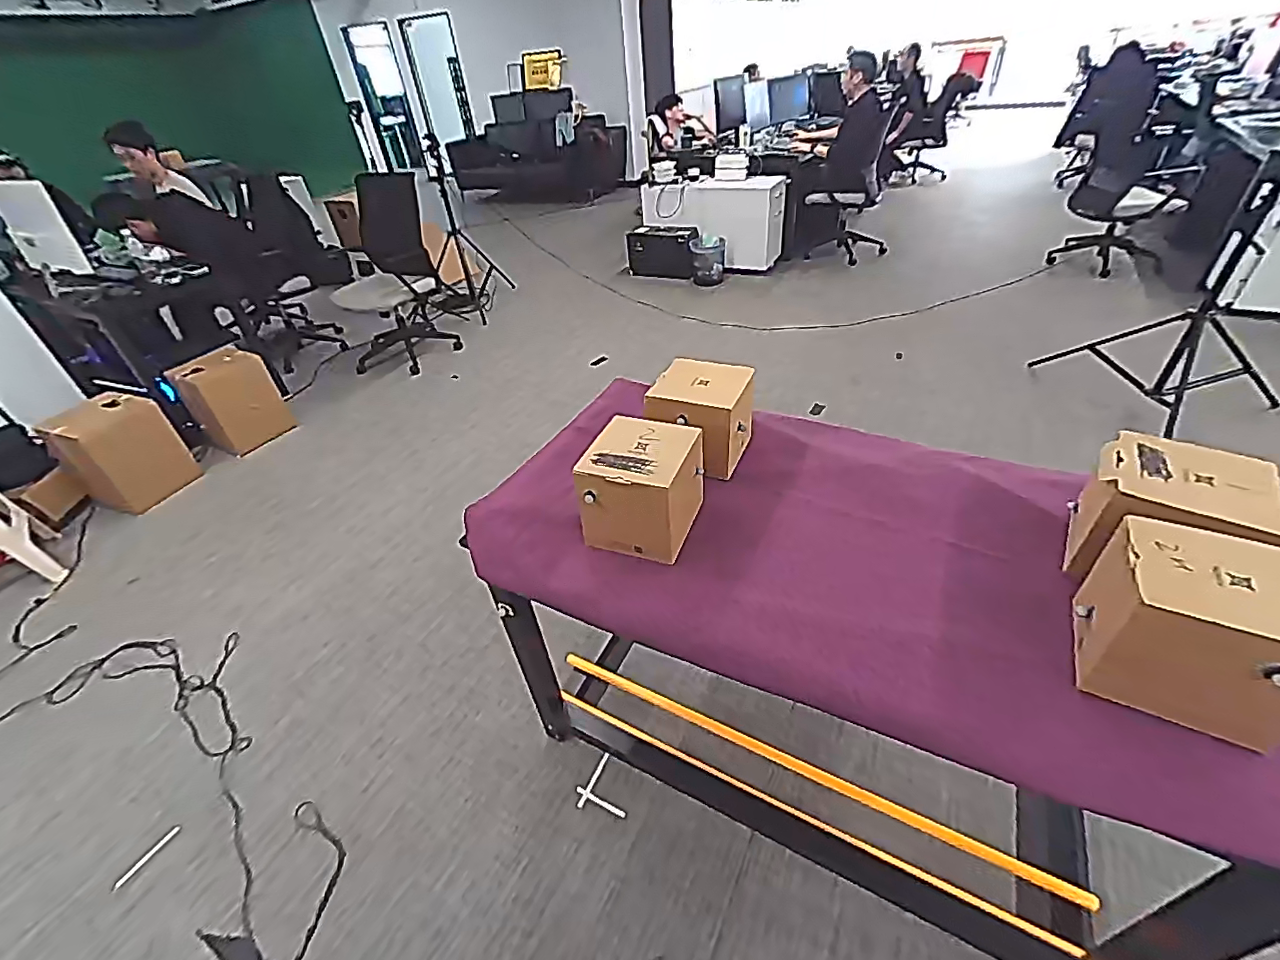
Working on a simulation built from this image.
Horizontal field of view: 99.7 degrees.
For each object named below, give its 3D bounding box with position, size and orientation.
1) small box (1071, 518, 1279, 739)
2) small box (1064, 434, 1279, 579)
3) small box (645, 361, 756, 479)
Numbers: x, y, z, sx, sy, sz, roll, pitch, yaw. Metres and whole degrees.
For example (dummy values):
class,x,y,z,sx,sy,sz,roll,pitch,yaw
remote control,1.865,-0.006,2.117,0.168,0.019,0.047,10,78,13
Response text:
class,x,y,z,sx,sy,sz,roll,pitch,yaw
small box,0.660,0.178,0.653,0.179,0.176,0.168,16,41,27
small box,0.755,0.063,0.786,0.179,0.176,0.168,21,47,28
small box,0.126,-0.121,1.105,0.179,0.176,0.168,13,42,22
